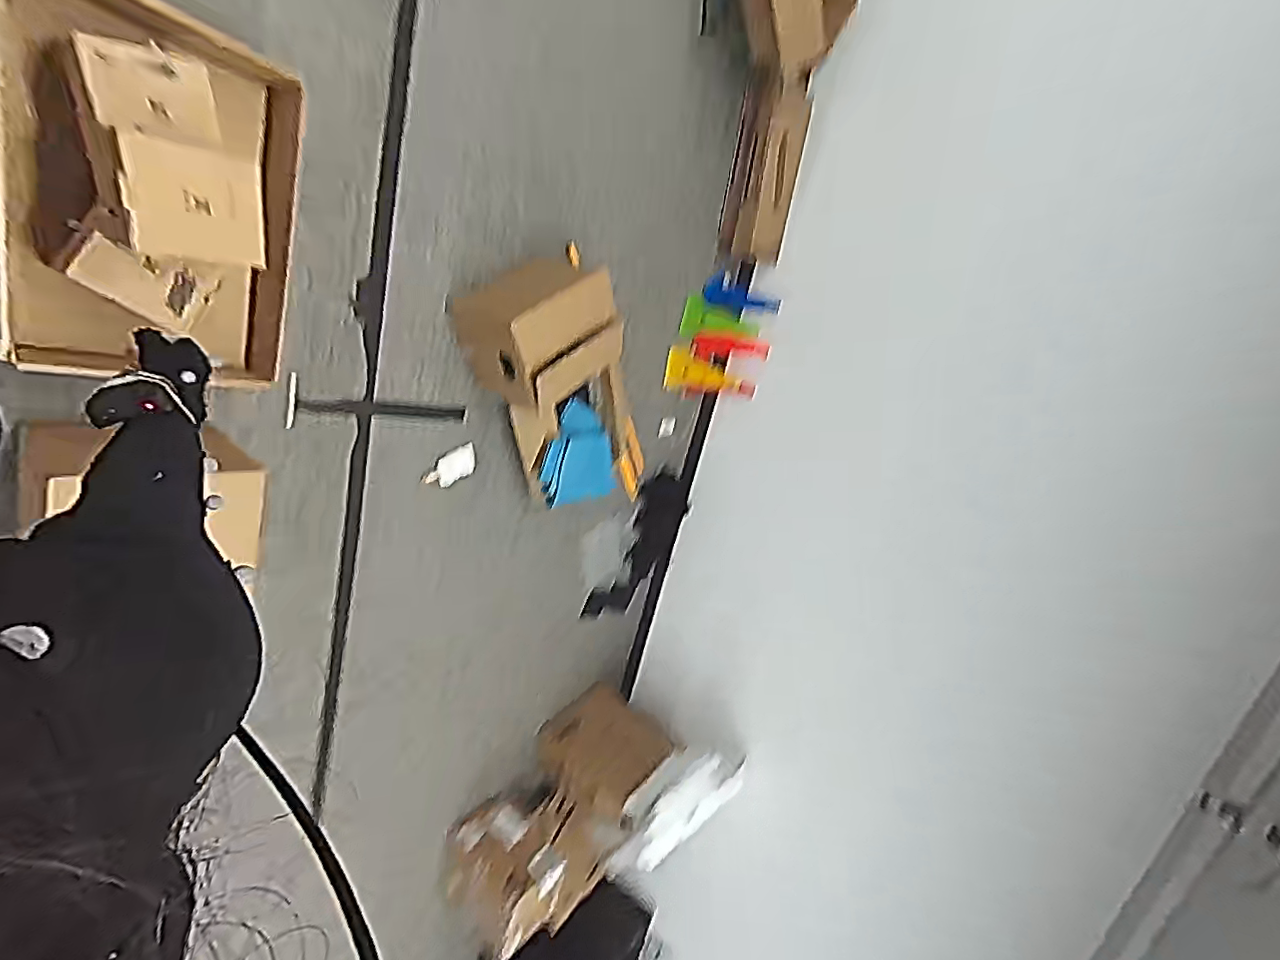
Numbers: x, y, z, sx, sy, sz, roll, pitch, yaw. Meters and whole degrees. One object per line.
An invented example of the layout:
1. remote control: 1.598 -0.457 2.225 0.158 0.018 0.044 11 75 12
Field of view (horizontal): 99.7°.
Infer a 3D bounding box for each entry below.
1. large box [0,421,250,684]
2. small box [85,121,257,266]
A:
1. large box: -1.052 0.116 1.101 0.320 0.320 0.408 -3 114 -55
2. small box: -0.755 -0.457 0.874 0.179 0.176 0.168 -16 125 -53
